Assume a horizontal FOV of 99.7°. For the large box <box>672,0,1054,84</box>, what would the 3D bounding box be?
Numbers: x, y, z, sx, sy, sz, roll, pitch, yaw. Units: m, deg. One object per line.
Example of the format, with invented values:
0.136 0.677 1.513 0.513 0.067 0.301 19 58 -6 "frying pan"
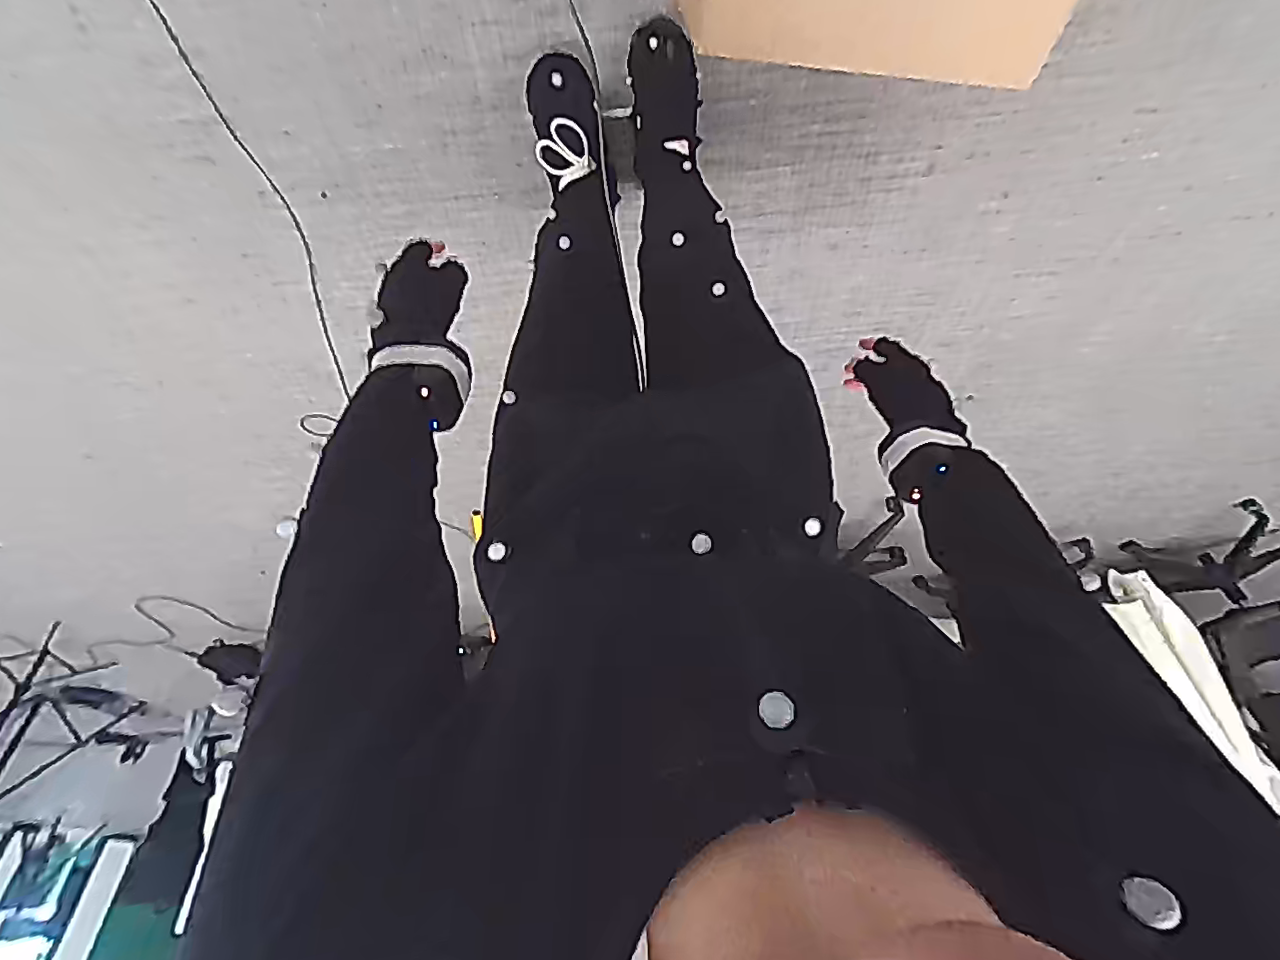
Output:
0.257 -0.691 0.599 0.408 0.320 0.320 1 142 -7 "large box"
